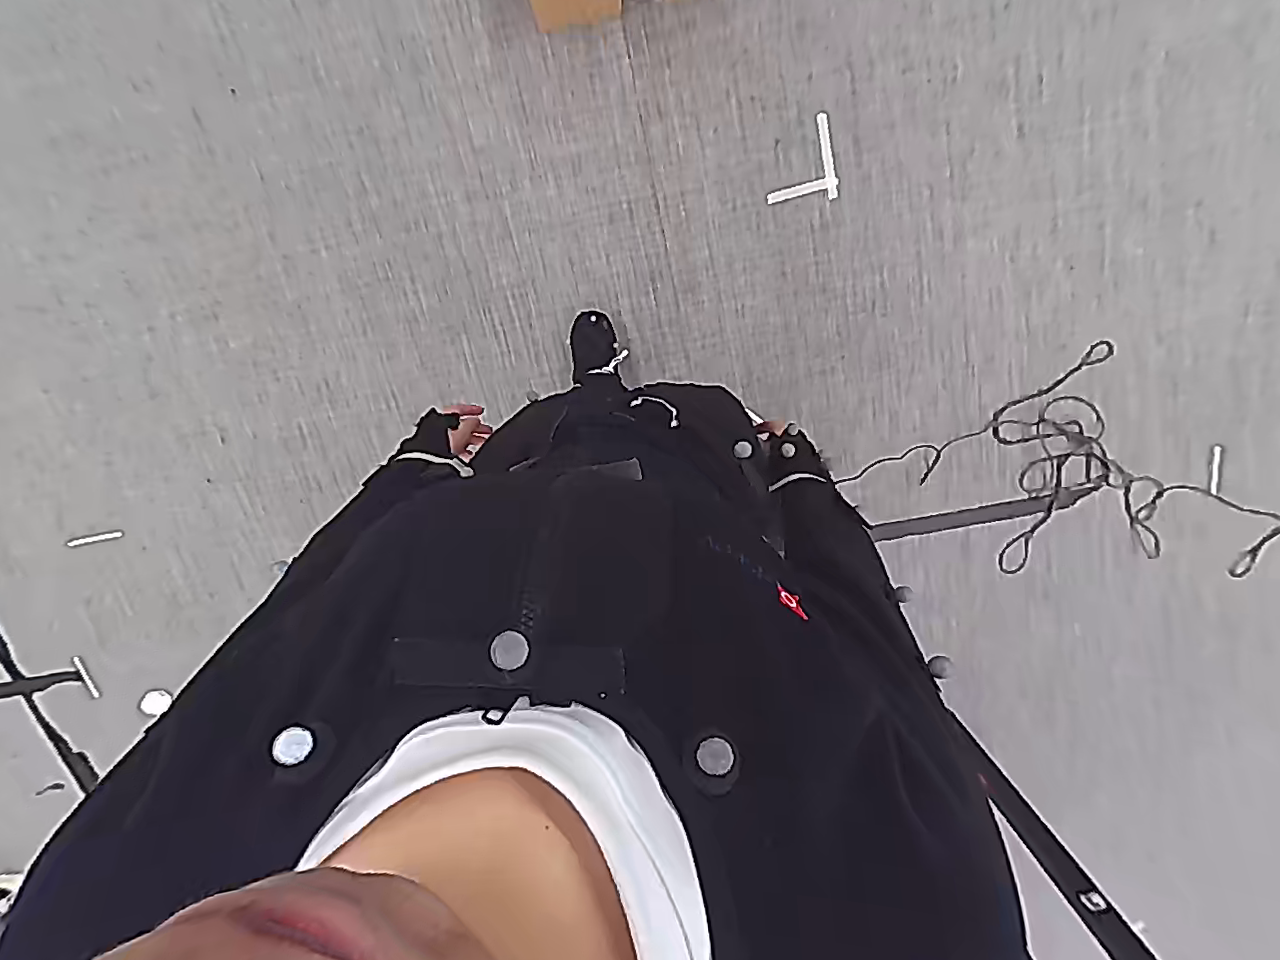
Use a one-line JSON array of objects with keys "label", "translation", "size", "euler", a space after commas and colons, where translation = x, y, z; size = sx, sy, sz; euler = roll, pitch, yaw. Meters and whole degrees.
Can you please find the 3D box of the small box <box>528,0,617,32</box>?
[{"label": "small box", "translation": [-0.140, -1.001, 1.026], "size": [0.179, 0.176, 0.168], "euler": [-11, 106, 3]}]
